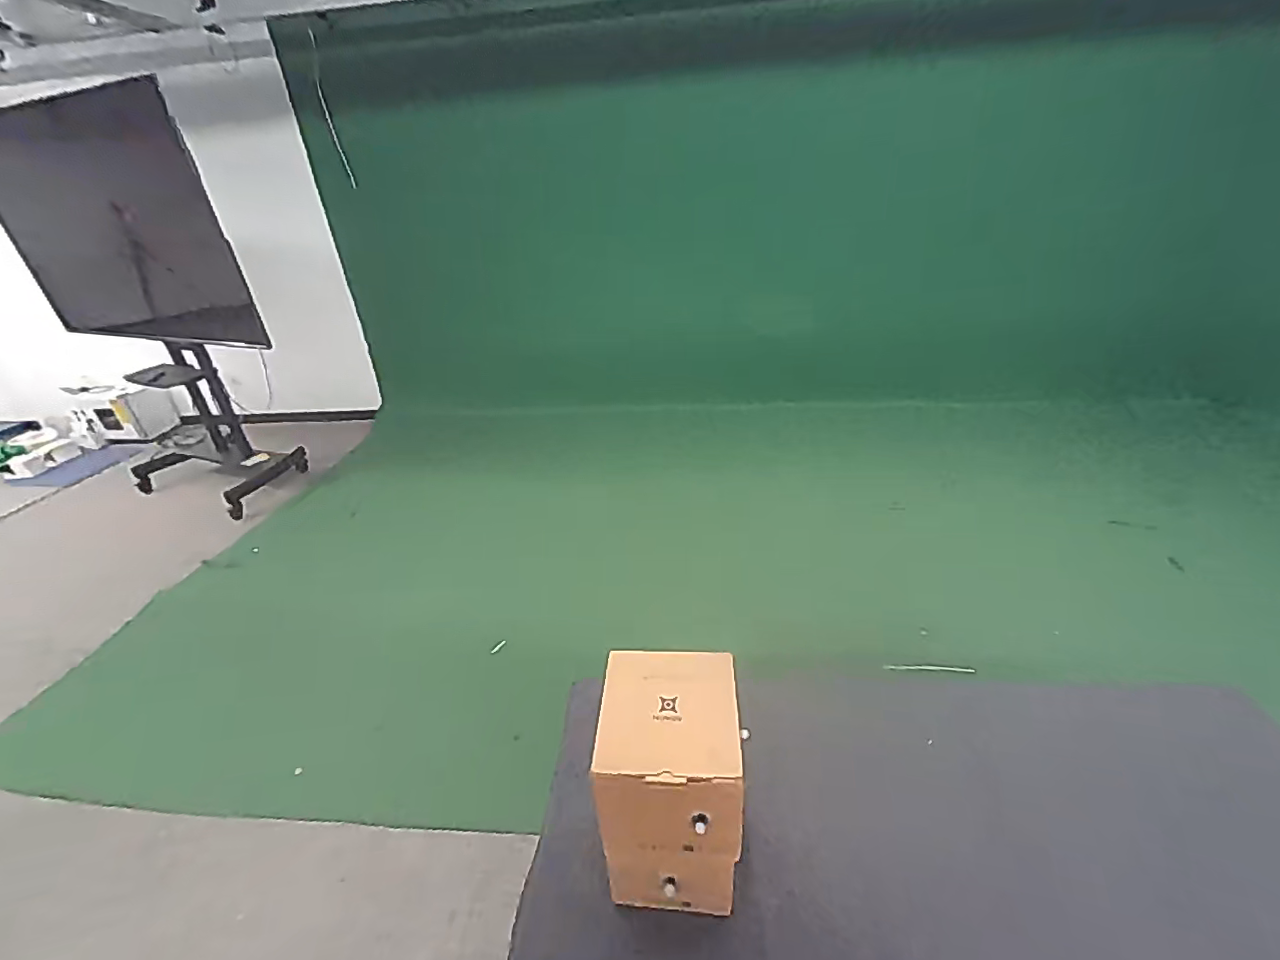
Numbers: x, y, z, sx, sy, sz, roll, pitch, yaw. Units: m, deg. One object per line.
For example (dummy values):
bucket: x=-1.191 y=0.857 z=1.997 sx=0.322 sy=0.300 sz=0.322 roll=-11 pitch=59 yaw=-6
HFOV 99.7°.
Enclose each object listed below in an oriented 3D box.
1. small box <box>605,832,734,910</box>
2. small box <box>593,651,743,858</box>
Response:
small box: x=0.050 y=0.478 z=0.778 sx=0.168 sy=0.176 sz=0.179 roll=1 pitch=30 yaw=7
small box: x=0.041 y=0.344 z=0.686 sx=0.168 sy=0.176 sz=0.179 roll=0 pitch=29 yaw=5
